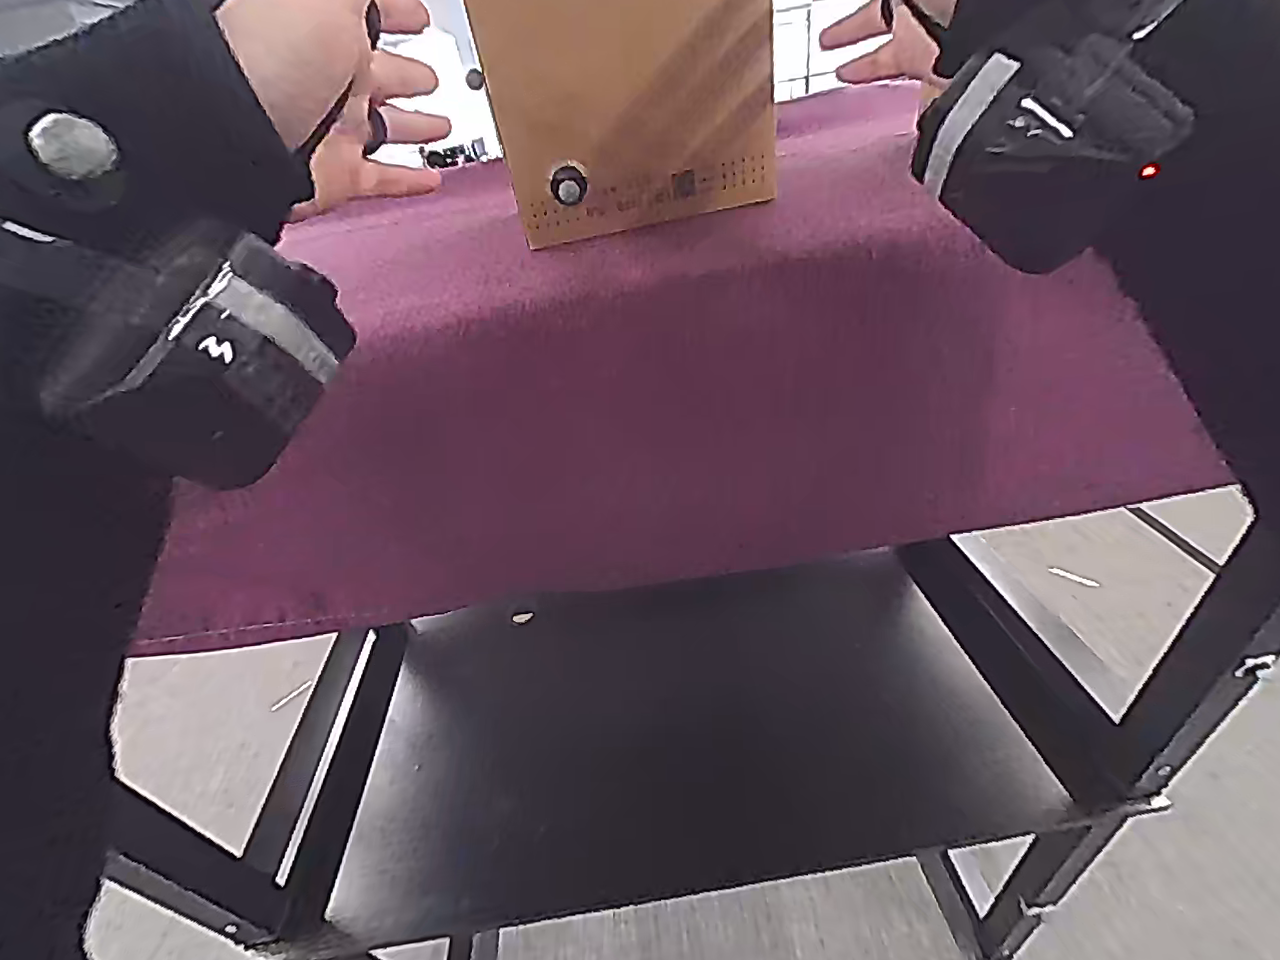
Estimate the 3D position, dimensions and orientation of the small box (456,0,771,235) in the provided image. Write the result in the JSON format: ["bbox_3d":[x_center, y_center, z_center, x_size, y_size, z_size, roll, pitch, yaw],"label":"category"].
[{"bbox_3d":[-0.020,-0.273,0.356,0.168,0.176,0.179,-13,35,-3],"label":"small box"}]

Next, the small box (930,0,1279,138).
[{"bbox_3d":[0.308,-0.325,0.338,0.168,0.176,0.179,-9,35,4],"label":"small box"}]
